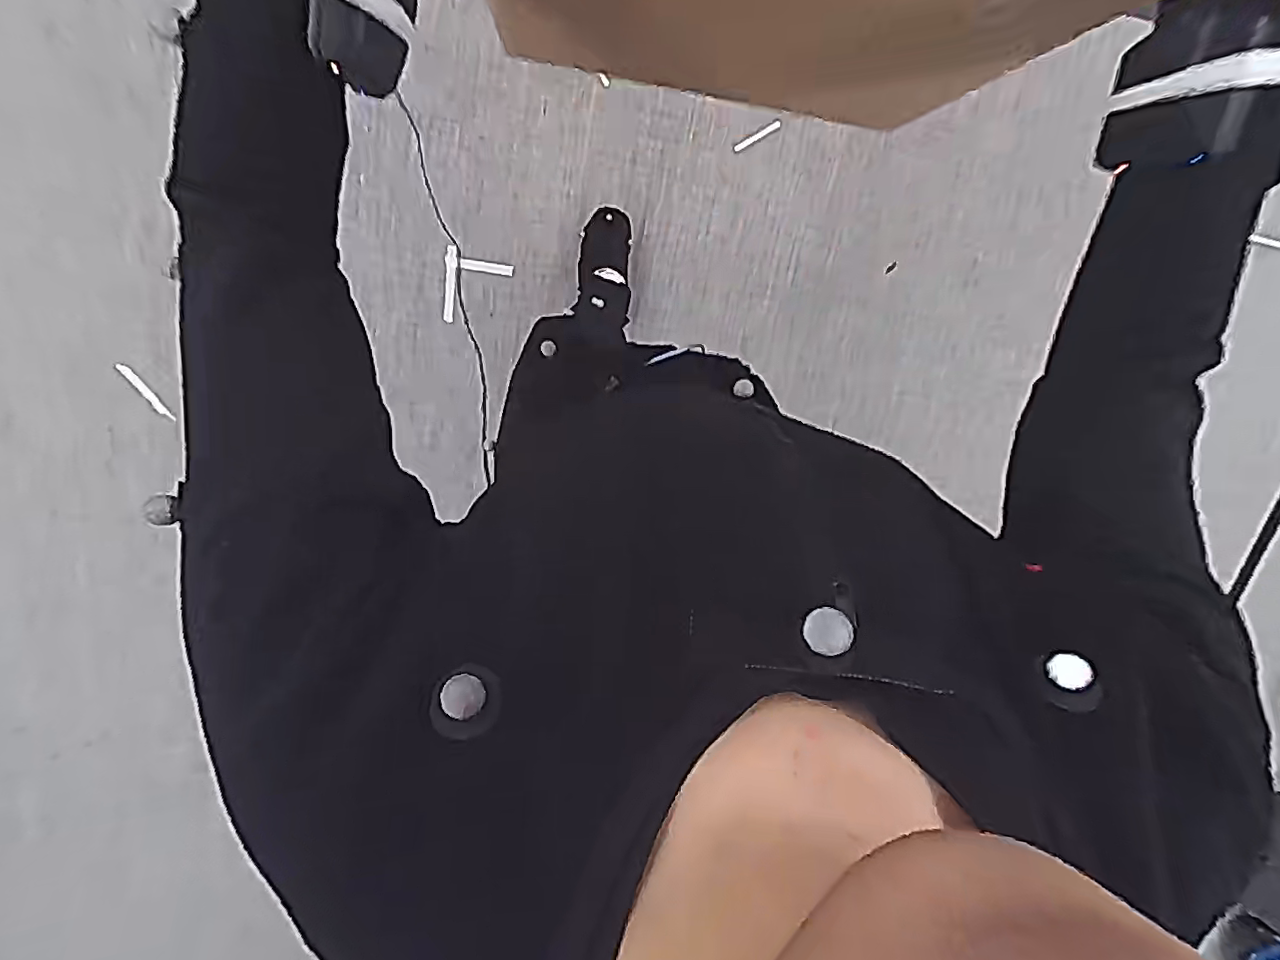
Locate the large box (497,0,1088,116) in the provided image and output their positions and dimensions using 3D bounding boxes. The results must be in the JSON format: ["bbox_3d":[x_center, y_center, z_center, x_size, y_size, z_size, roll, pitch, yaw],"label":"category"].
[{"bbox_3d":[0.101,-0.491,0.358,0.408,0.320,0.320,5,110,-9],"label":"large box"}]
